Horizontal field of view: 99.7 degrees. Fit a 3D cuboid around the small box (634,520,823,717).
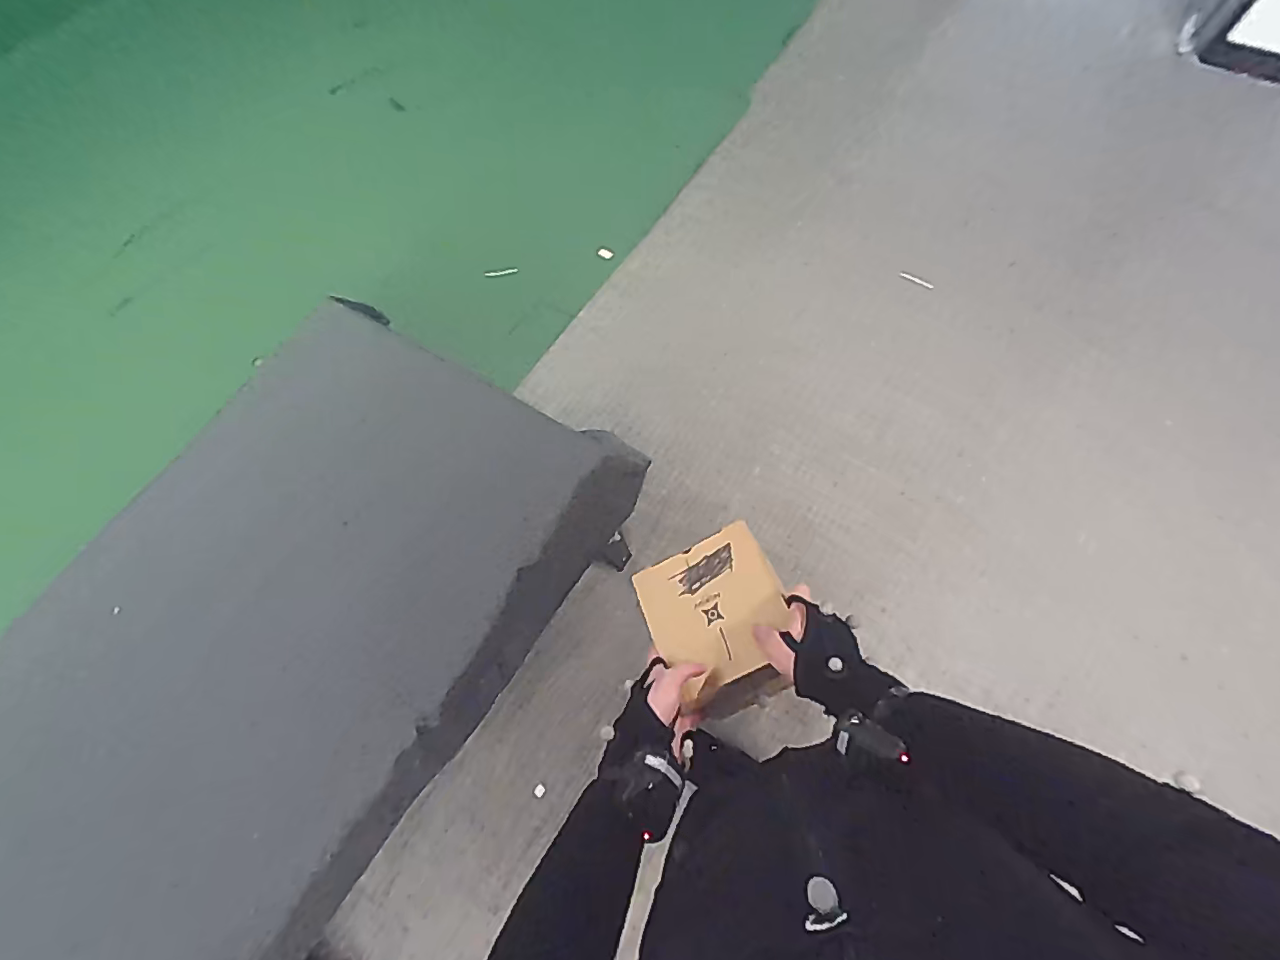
[{"bbox_3d":[0.118,0.187,0.707,0.168,0.176,0.179,-29,54,11],"label":"small box"}]
